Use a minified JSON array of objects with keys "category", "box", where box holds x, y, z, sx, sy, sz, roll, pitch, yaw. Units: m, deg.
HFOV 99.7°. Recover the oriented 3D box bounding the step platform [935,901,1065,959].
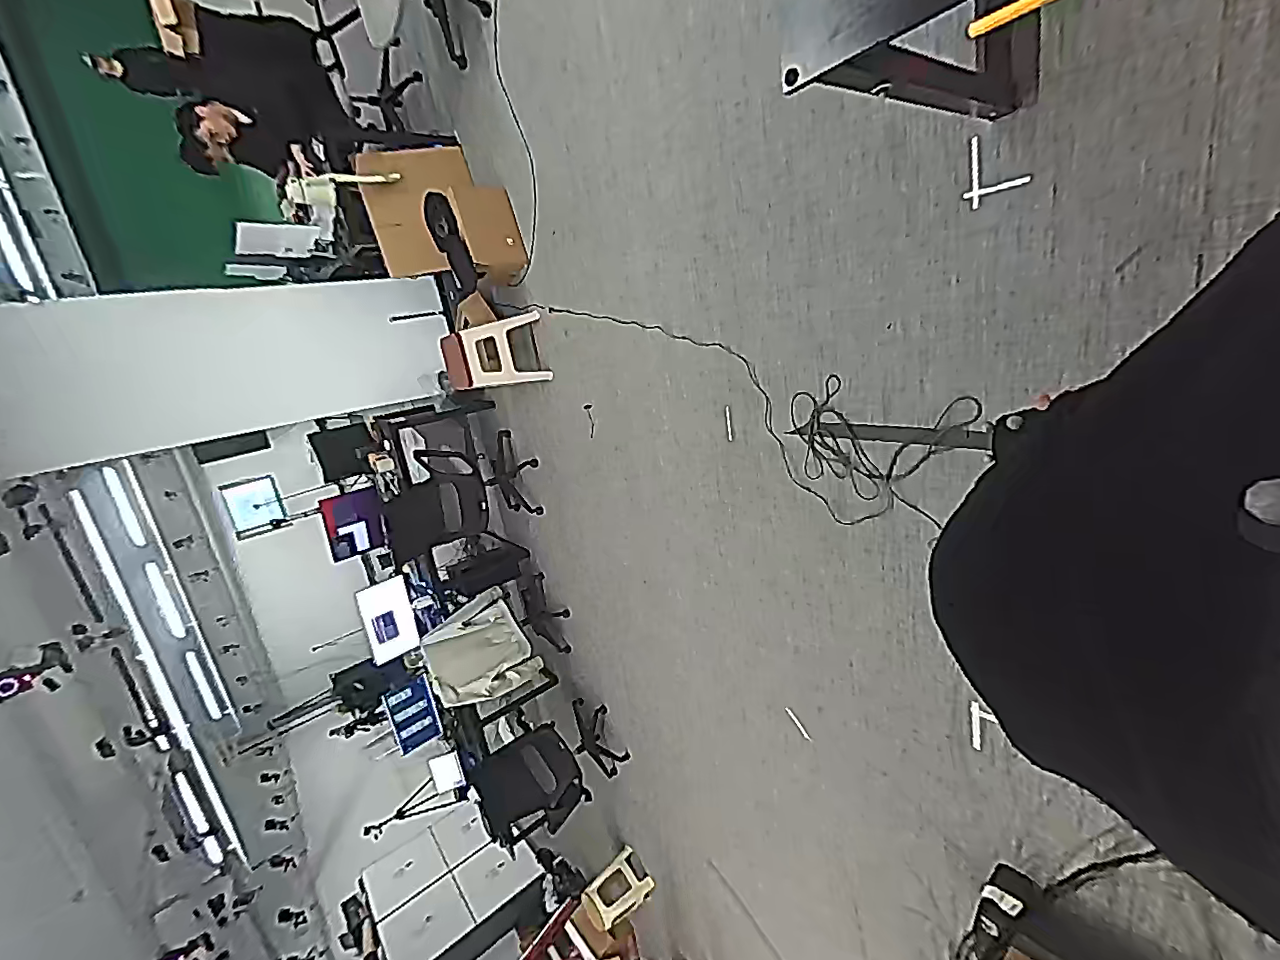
[{"category":"step platform","box":[1.142,1.439,1.364,0.684,0.204,0.286,9,115,53]}]
